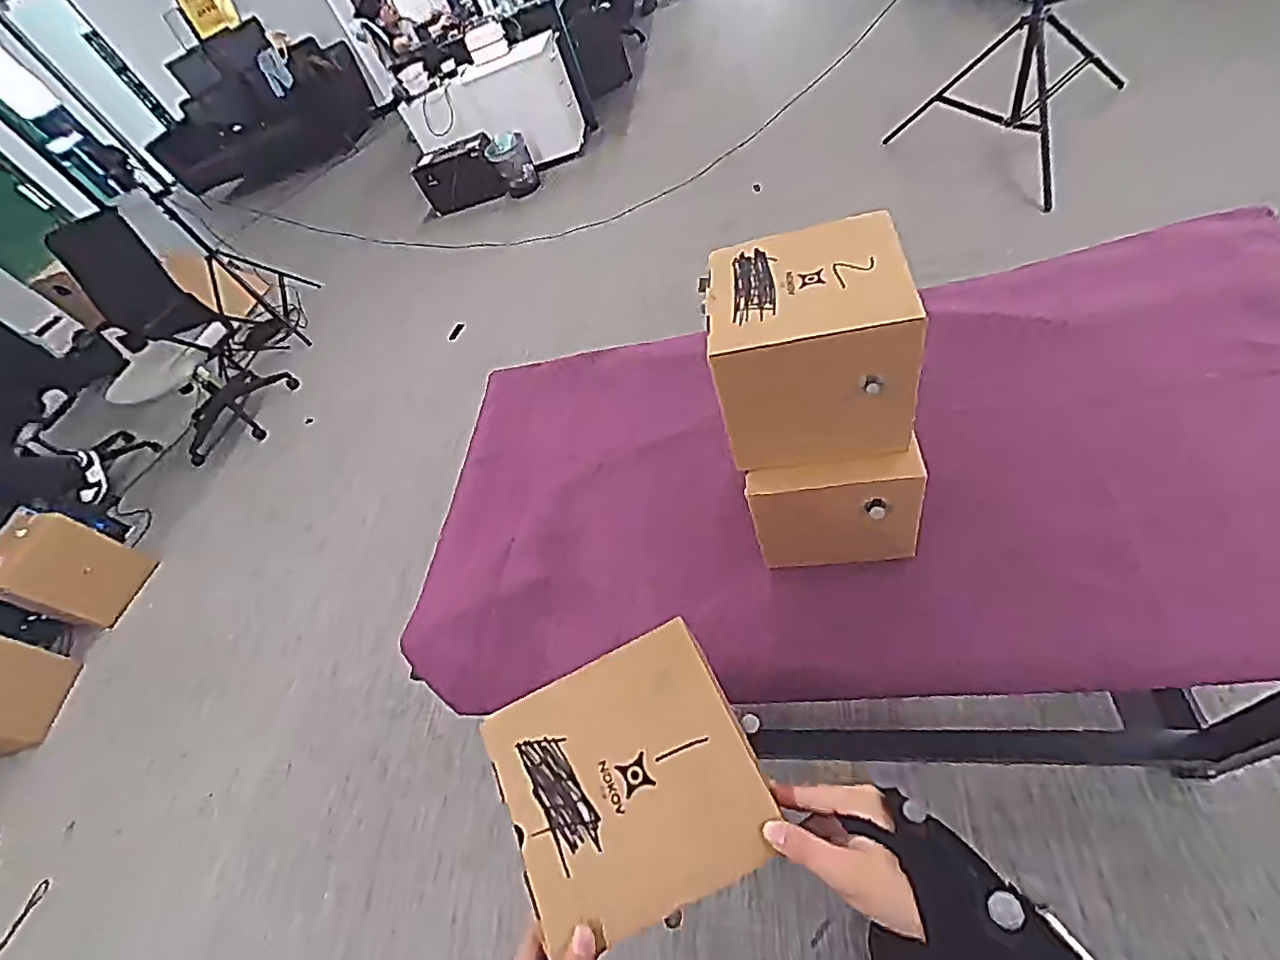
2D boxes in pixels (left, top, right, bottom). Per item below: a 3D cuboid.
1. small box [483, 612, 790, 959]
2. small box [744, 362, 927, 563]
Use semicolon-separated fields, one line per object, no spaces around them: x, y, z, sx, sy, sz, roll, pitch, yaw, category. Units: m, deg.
0.003;0.237;0.447;0.179;0.176;0.168;-27;63;-3;small box
0.226;-0.014;0.654;0.179;0.176;0.168;-7;51;17;small box
